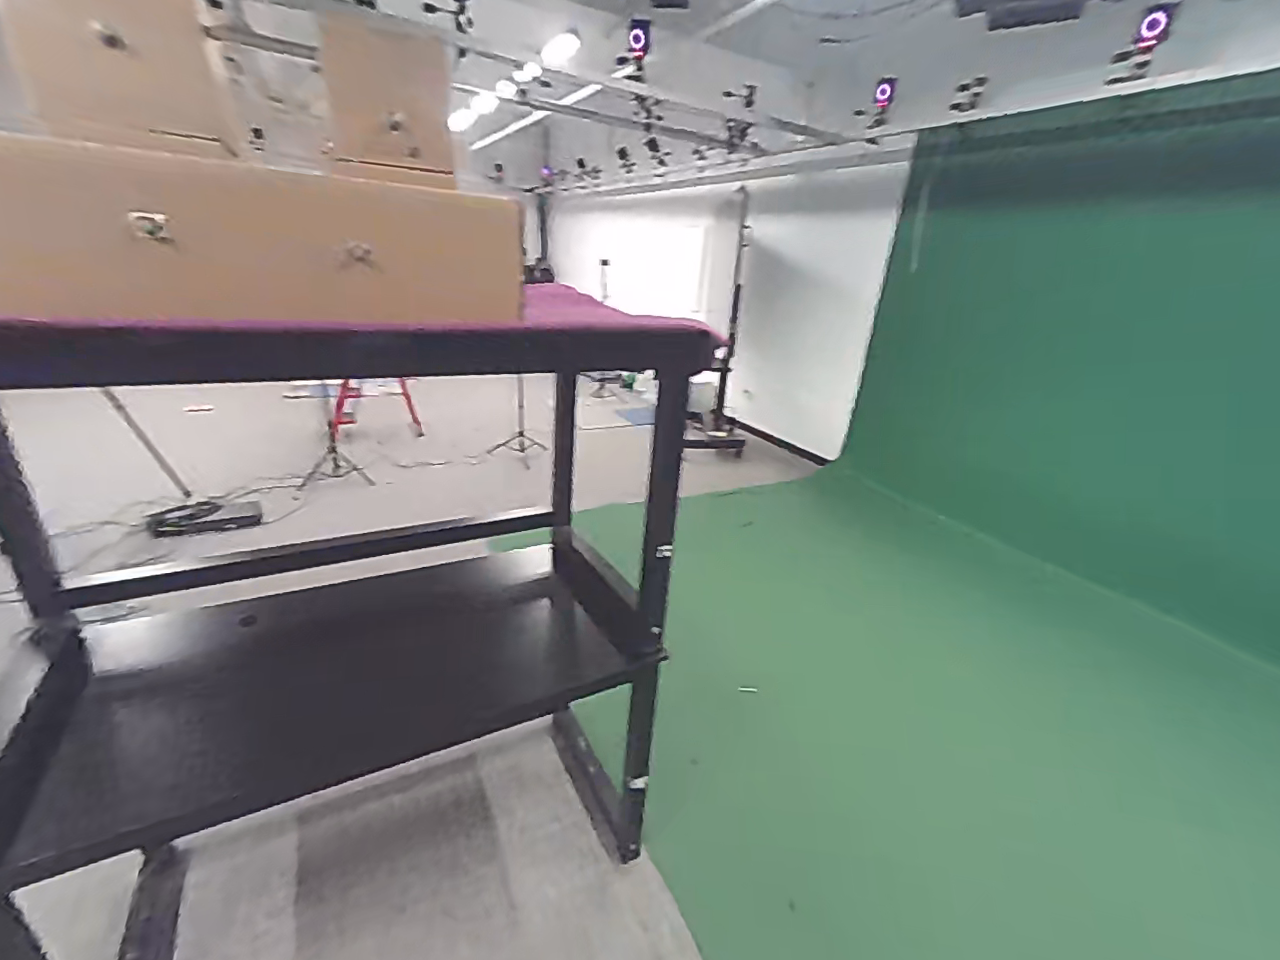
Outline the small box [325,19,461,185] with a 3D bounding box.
[{"bbox_3d":[-0.377,-0.559,0.833,0.168,0.176,0.179,-9,25,-26],"label":"small box"}]
